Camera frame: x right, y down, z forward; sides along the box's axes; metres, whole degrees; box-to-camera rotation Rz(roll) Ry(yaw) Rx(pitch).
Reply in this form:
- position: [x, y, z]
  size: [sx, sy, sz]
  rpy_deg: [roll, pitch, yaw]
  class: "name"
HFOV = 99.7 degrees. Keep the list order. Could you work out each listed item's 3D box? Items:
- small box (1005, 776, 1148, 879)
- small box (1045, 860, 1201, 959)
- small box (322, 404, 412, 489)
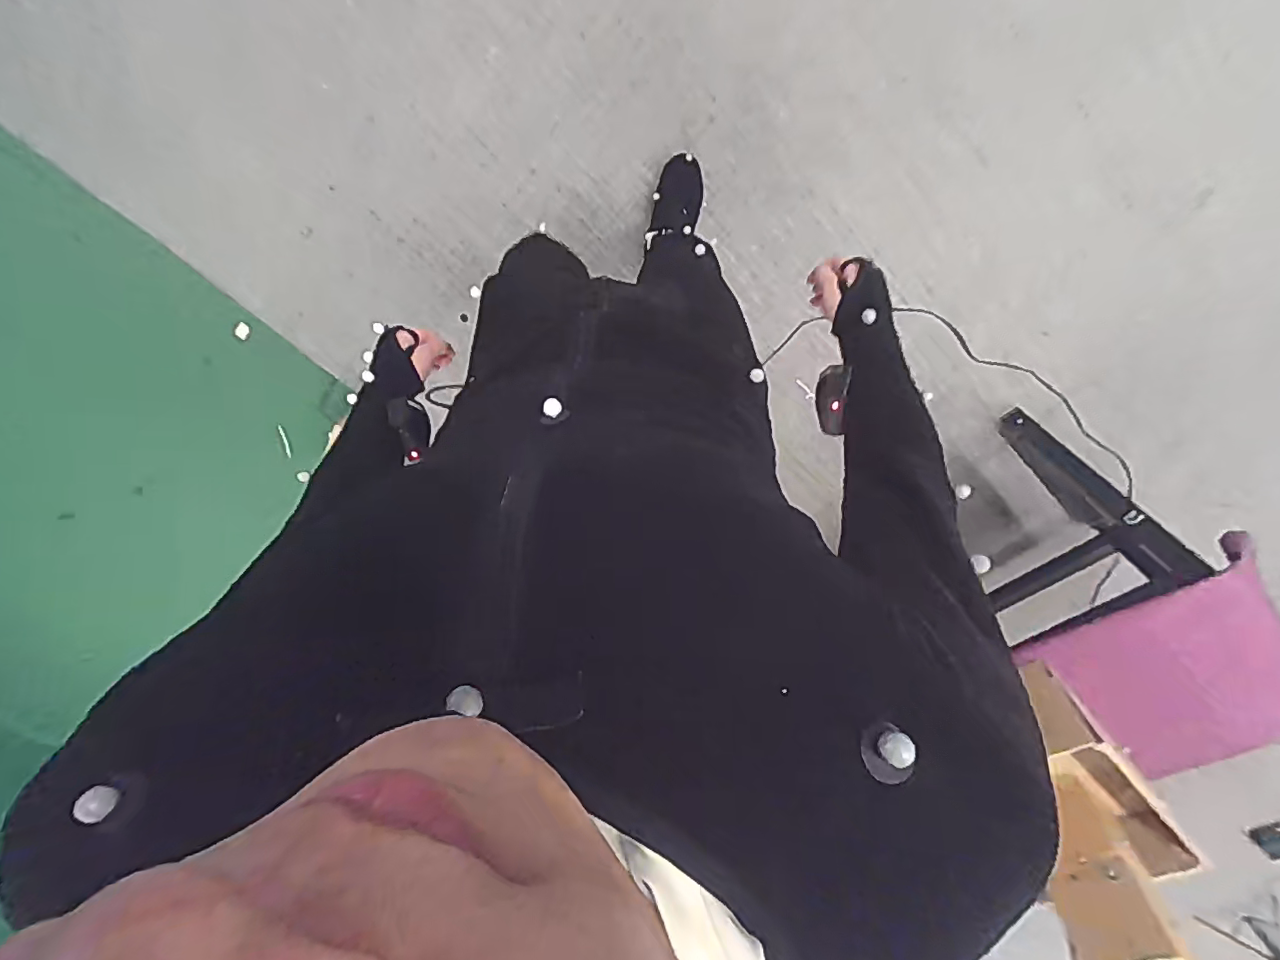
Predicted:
- position: [0.985, 0.810, 1.230]
  size: [0.179, 0.176, 0.168]
  rpy_deg: [41, 118, -18]
  class: "small box"
- position: [0.976, 0.903, 1.094]
  size: [0.179, 0.176, 0.168]
  rpy_deg: [40, 118, -19]
  class: "small box"
- position: [-0.847, -0.110, 1.689]
  size: [0.179, 0.176, 0.168]
  rpy_deg: [31, 120, -15]
  class: "small box"
